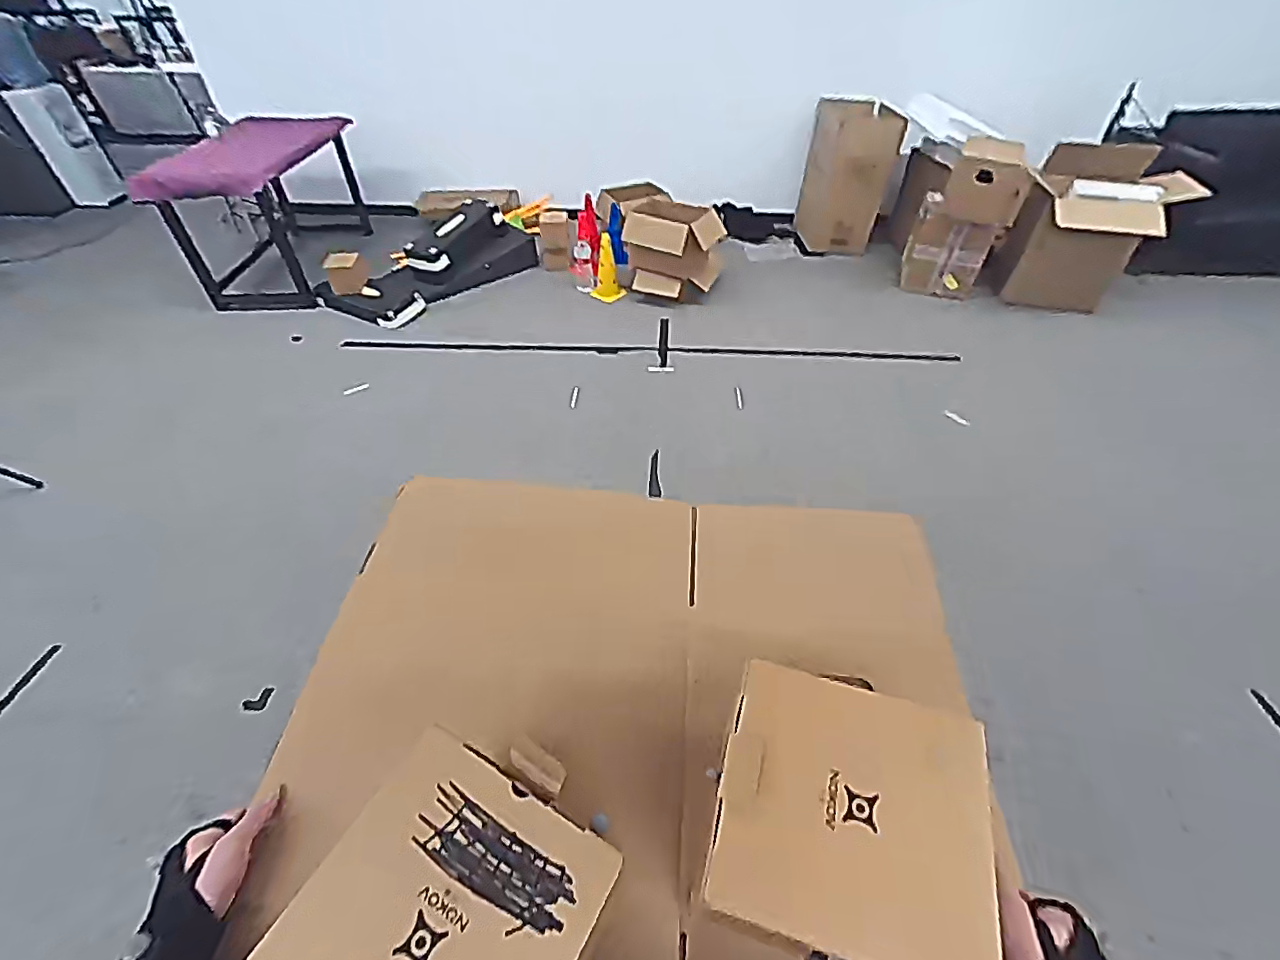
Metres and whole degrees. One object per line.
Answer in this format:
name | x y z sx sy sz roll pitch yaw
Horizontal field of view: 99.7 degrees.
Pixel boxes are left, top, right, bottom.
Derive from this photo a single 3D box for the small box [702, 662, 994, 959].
small box | 0.154 0.279 0.444 0.179 0.176 0.168 11 51 14
